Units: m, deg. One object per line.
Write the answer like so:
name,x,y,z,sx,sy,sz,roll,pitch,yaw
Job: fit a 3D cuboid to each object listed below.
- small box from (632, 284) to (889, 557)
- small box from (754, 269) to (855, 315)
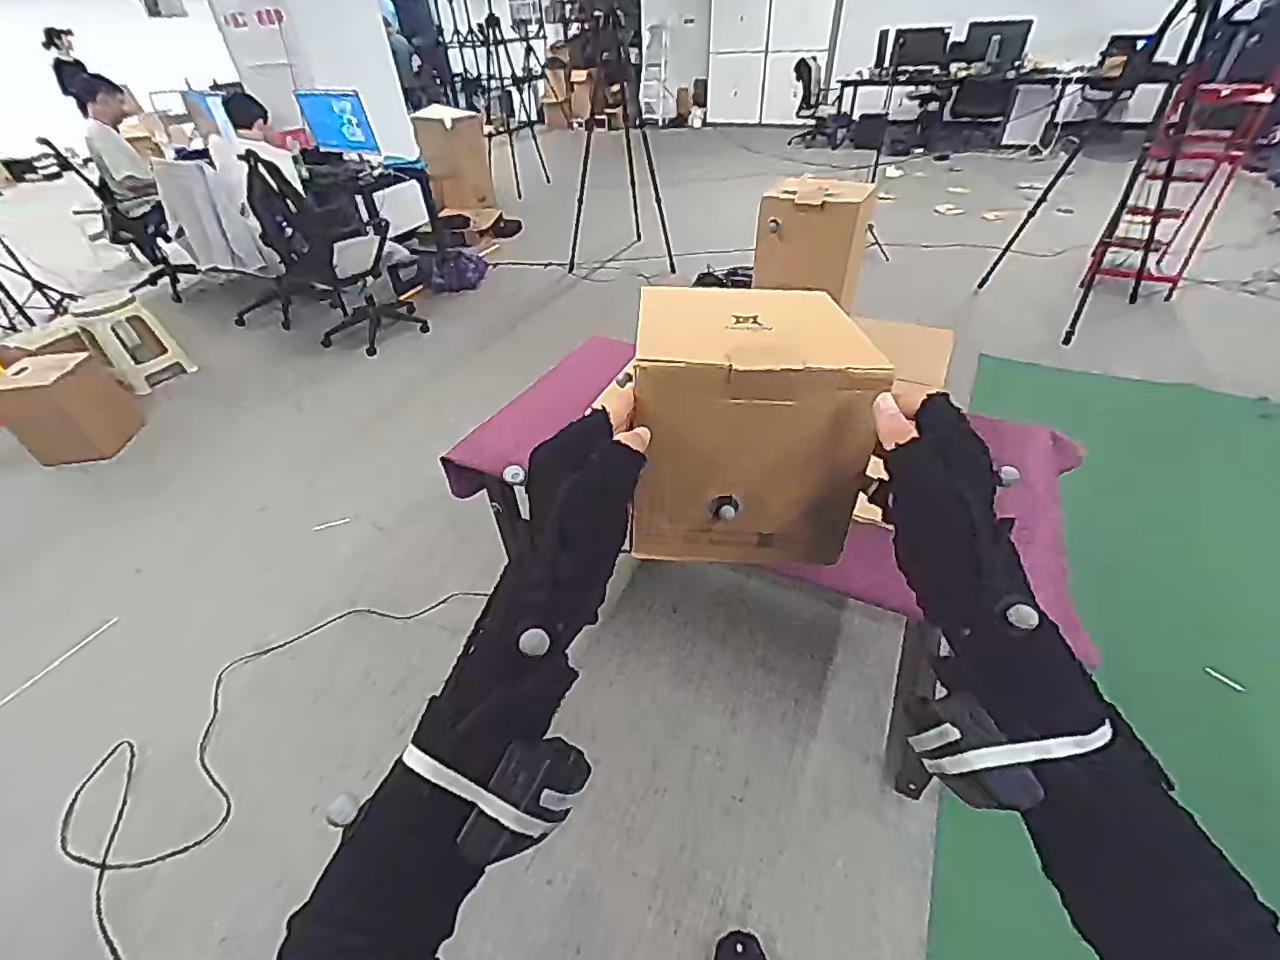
small box,0.080,-0.057,0.463,0.168,0.176,0.179,2,35,0
small box,0.319,-0.309,1.096,0.168,0.176,0.179,18,42,23
